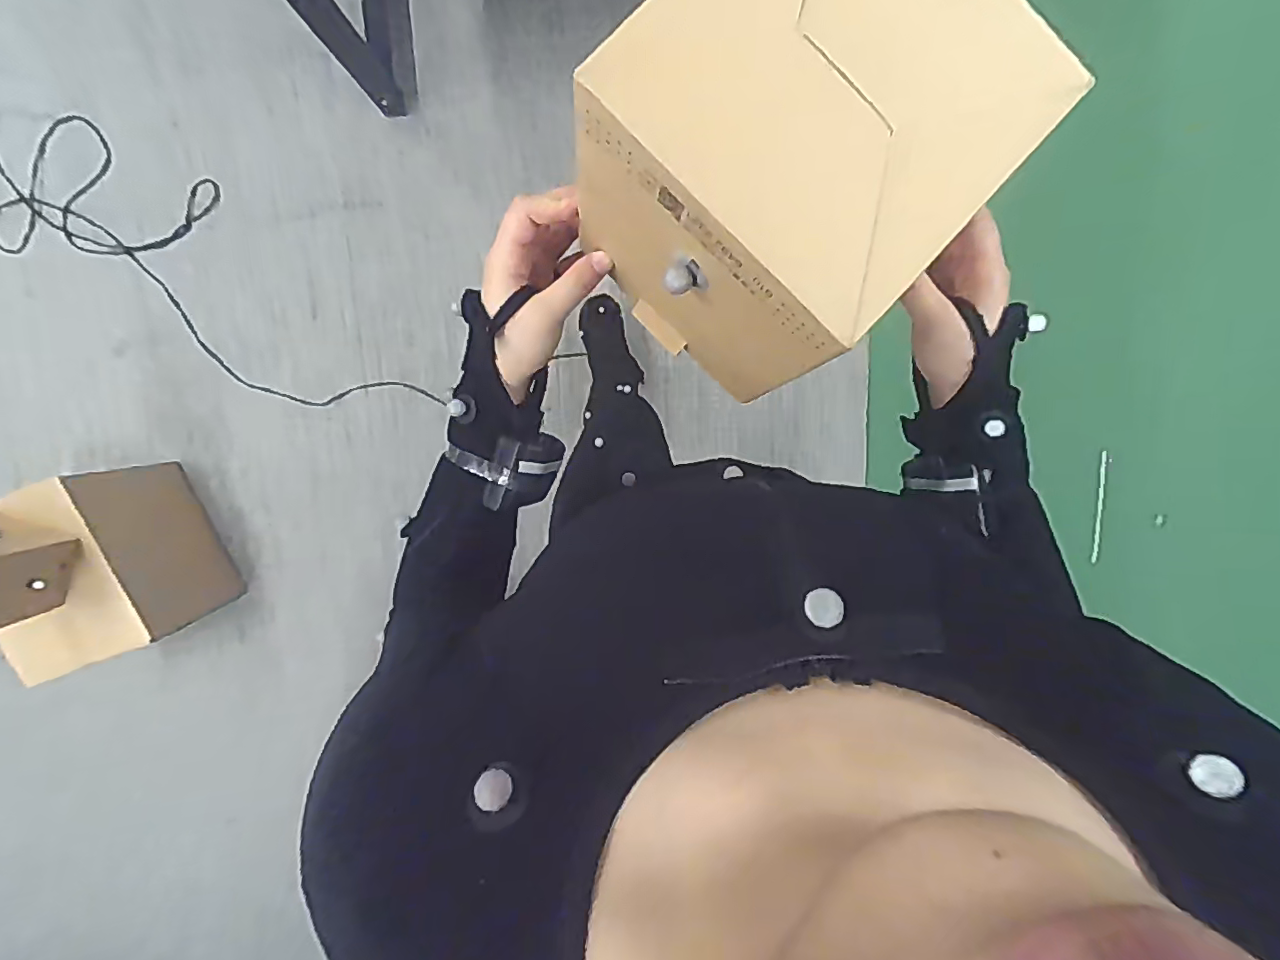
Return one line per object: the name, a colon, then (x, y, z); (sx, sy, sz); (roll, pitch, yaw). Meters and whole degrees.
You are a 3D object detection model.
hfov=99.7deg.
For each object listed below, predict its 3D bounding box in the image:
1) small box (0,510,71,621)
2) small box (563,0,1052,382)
small box: (-1.296, 0.169, 1.065); (0.179, 0.176, 0.168); (19, 97, -6)
small box: (0.074, -0.184, 0.312); (0.168, 0.176, 0.179); (43, 86, -4)
